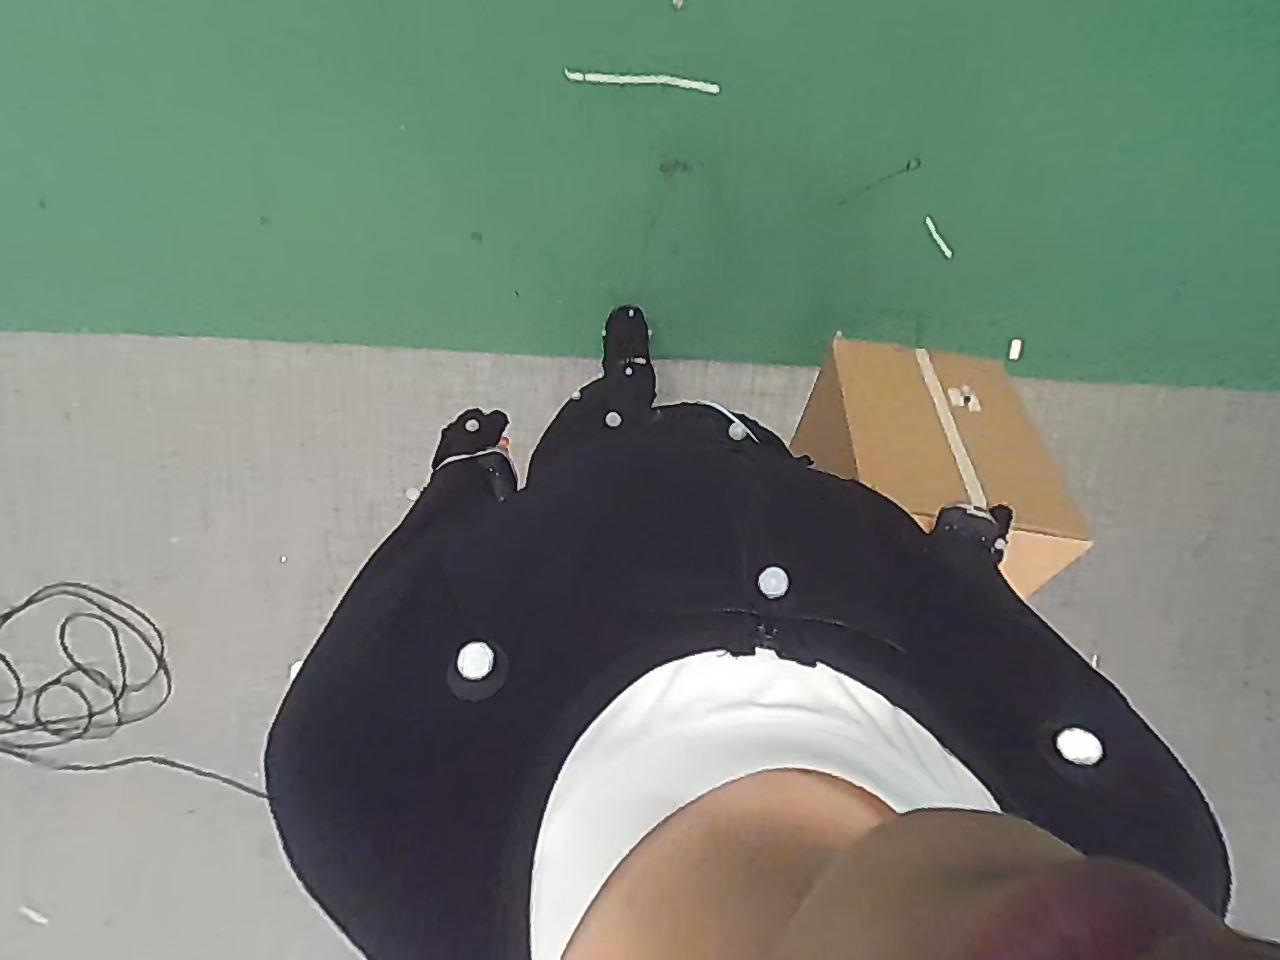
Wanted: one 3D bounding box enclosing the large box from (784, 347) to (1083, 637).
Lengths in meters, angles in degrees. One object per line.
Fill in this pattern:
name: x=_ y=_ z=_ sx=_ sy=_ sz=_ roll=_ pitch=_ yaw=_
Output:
large box: x=0.462 y=0.019 z=0.976 sx=0.320 sy=0.408 sz=0.320 roll=10 pitch=137 yaw=0
